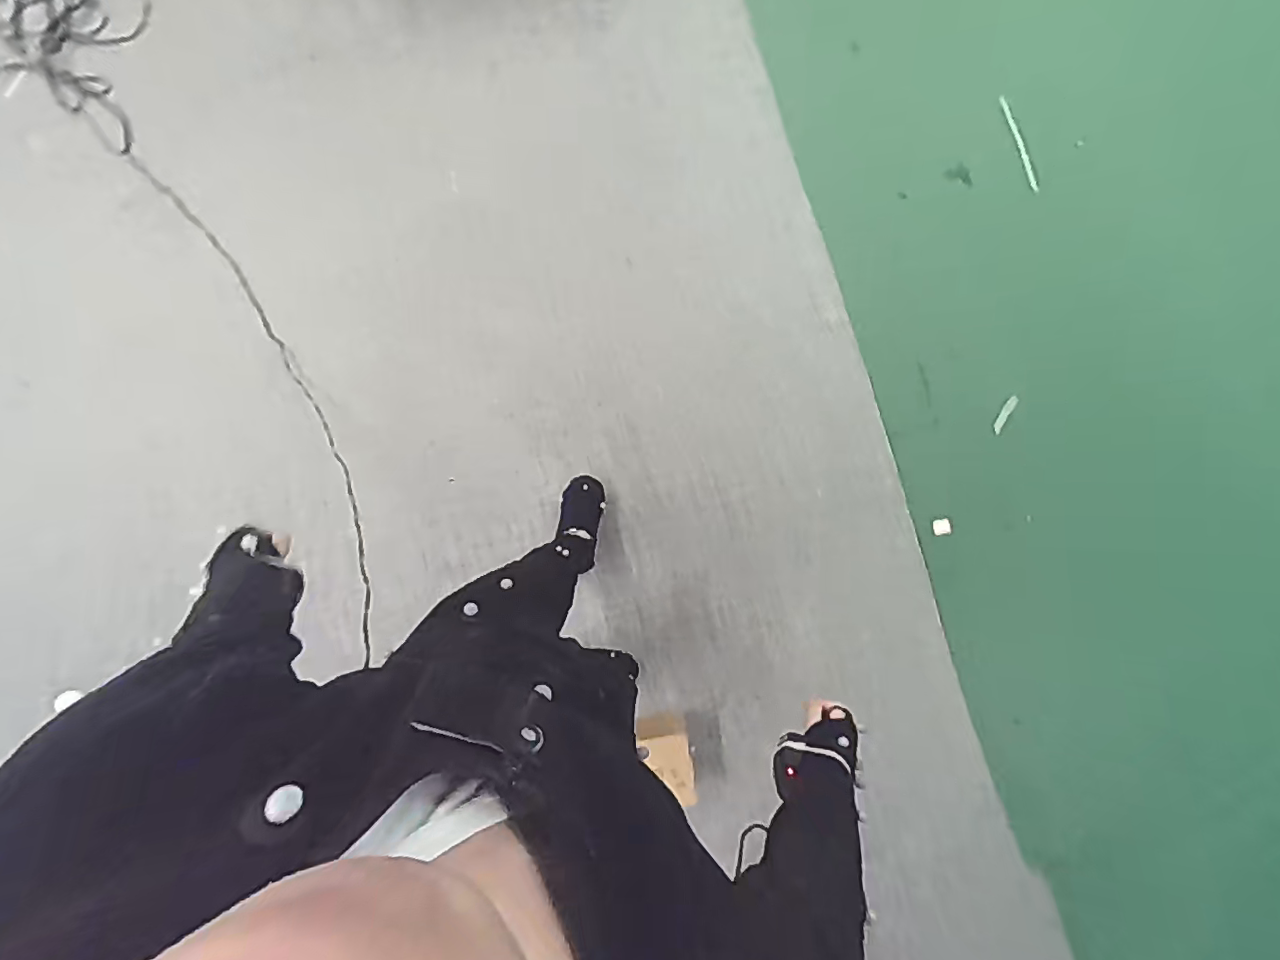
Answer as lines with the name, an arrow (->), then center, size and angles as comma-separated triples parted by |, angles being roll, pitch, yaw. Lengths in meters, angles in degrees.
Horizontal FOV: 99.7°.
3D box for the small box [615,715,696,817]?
small box -> 0.038, 0.711, 1.361 | 0.179, 0.176, 0.168 | -9, 84, -1
